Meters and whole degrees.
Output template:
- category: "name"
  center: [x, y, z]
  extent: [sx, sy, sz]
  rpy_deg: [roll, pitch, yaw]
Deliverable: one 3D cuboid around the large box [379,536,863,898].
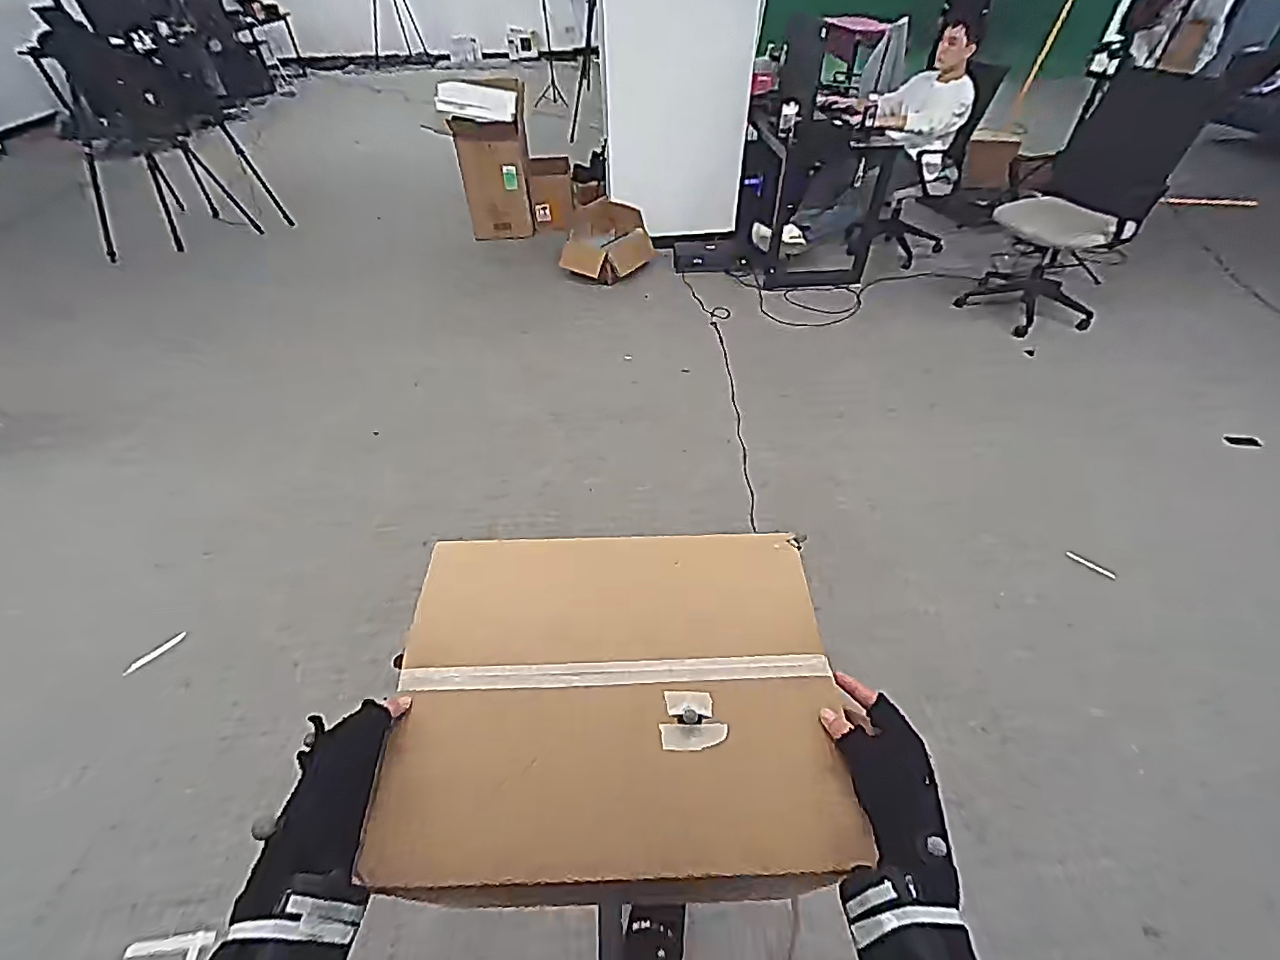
- category: "large box"
  center: [-0.021, 0.284, 0.645]
  extent: [0.408, 0.320, 0.320]
  rpy_deg: [-1, 50, -1]
